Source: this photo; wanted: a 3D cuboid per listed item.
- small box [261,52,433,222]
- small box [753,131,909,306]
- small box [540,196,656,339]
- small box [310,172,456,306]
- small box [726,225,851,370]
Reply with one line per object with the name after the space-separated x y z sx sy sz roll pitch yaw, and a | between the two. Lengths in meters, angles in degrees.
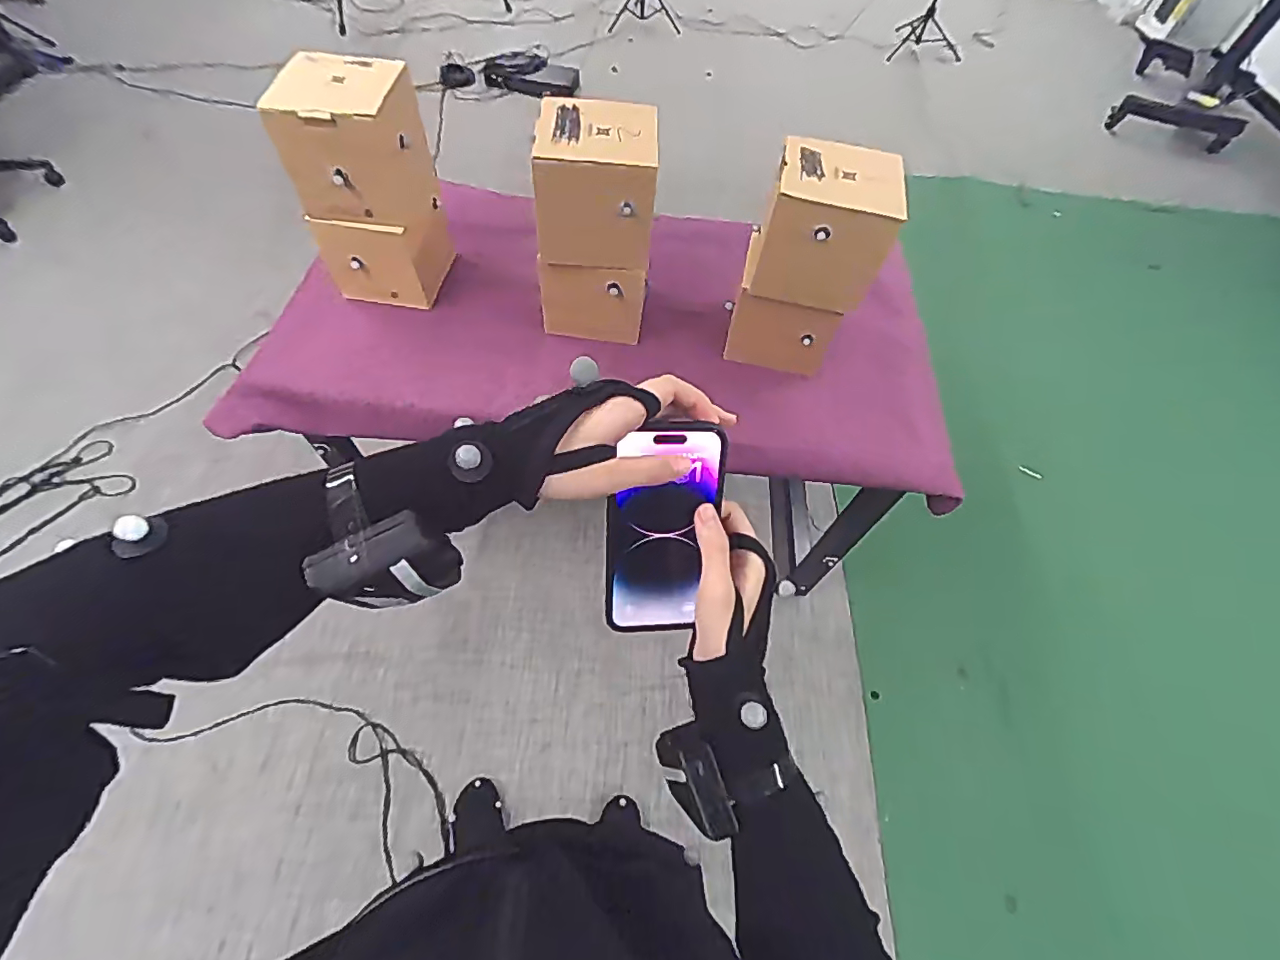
-0.446 -0.538 0.860 0.168 0.176 0.179 4 59 -2 | small box
0.280 -0.391 0.821 0.179 0.176 0.168 13 59 3 | small box
-0.071 -0.378 0.979 0.179 0.176 0.168 7 59 1 | small box
-0.456 -0.447 0.996 0.168 0.176 0.179 8 59 1 | small box
0.264 -0.320 0.969 0.179 0.176 0.168 13 59 5 | small box
